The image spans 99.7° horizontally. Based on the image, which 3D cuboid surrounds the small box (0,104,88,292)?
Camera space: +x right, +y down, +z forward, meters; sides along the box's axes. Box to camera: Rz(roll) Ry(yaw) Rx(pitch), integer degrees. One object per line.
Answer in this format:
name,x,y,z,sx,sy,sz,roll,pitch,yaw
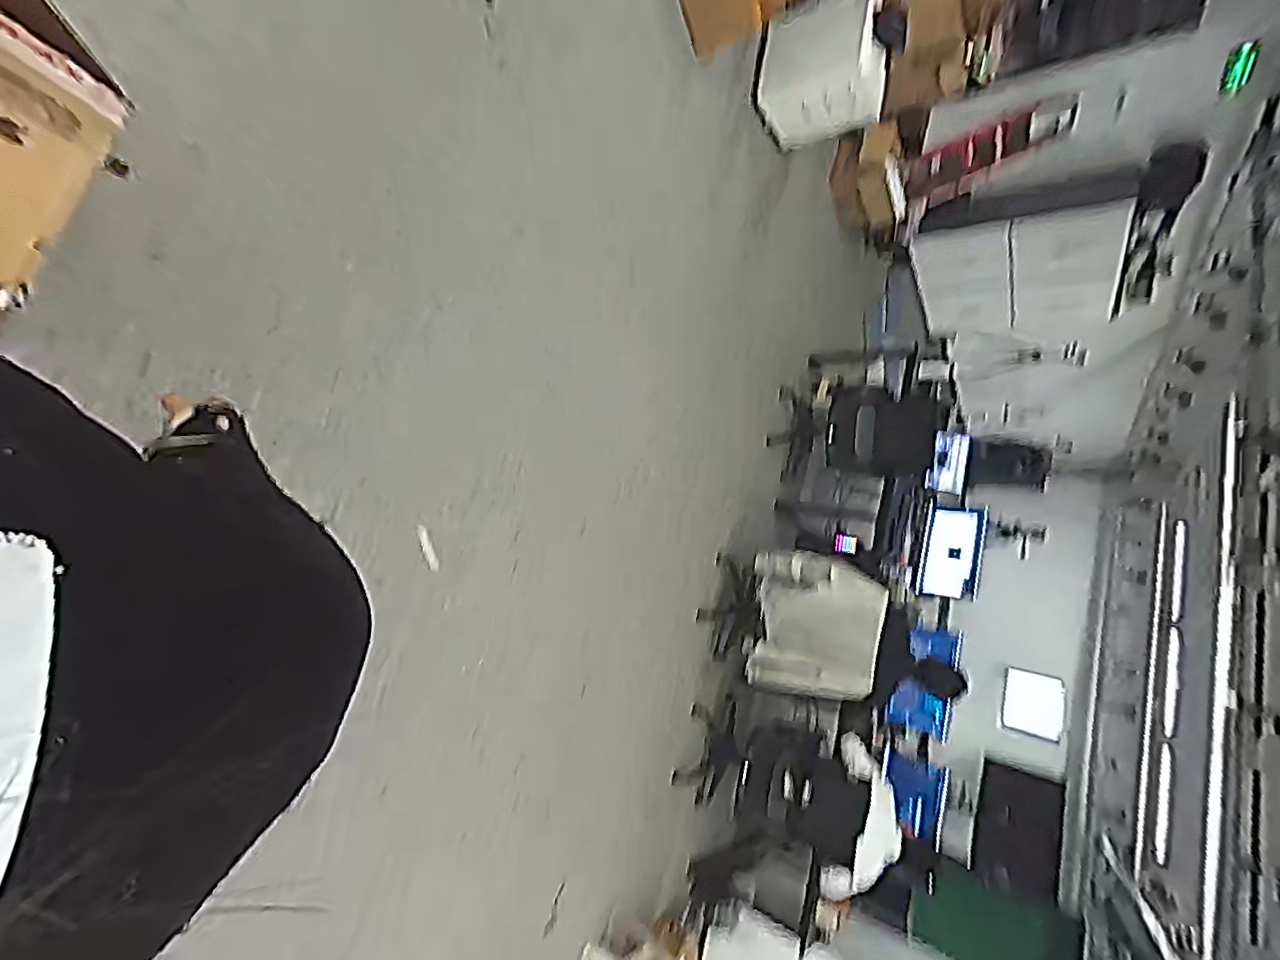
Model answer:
small box,-0.750,-0.320,0.577,0.168,0.176,0.179,34,71,-50
